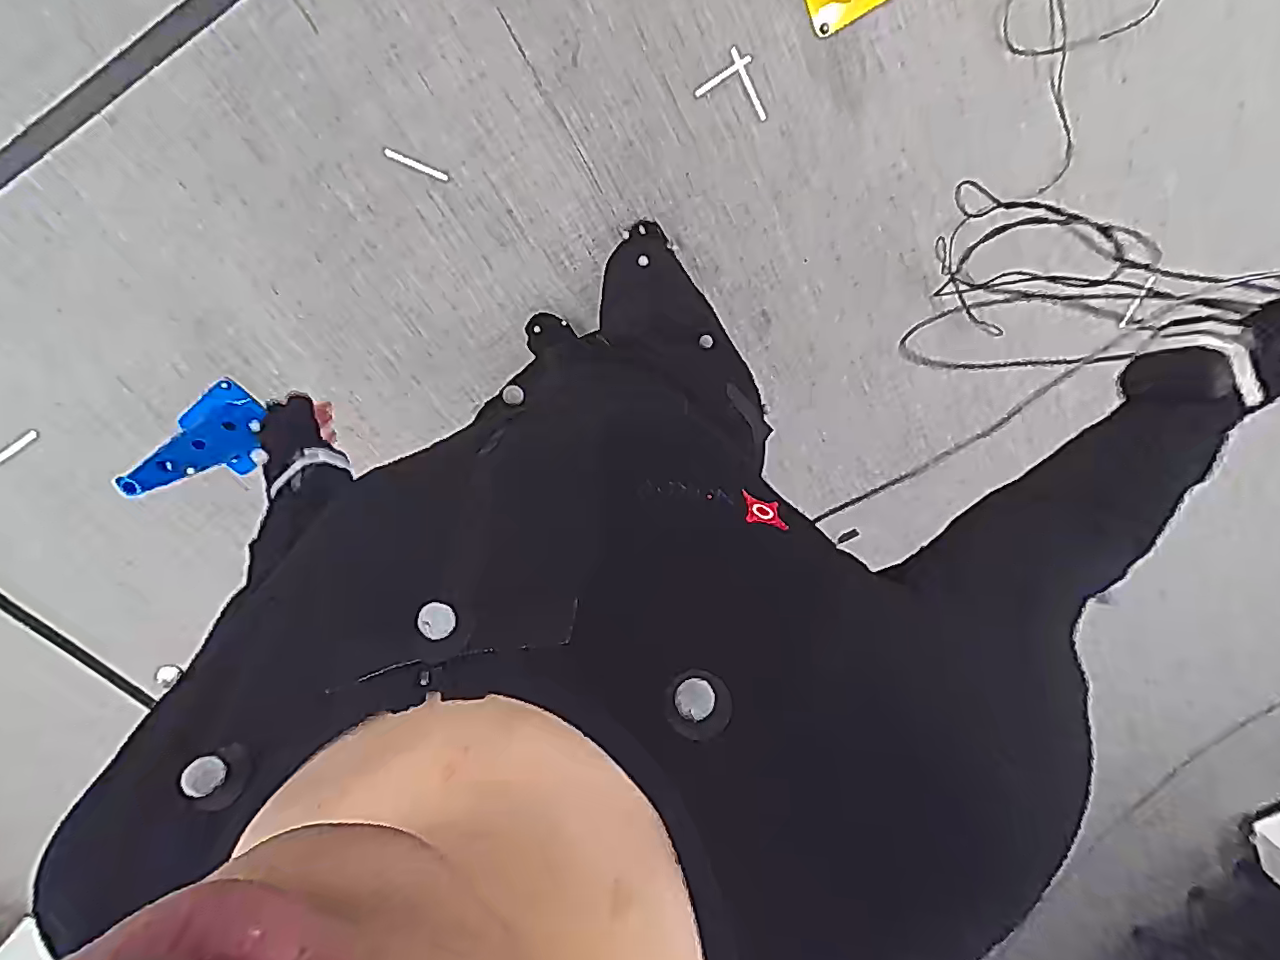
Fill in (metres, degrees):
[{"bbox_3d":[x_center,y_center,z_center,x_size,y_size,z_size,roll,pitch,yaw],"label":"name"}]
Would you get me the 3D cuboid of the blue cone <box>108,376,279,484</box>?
[{"bbox_3d":[-1.034,-0.077,1.234,0.193,0.380,0.192,-34,112,11],"label":"blue cone"}]
